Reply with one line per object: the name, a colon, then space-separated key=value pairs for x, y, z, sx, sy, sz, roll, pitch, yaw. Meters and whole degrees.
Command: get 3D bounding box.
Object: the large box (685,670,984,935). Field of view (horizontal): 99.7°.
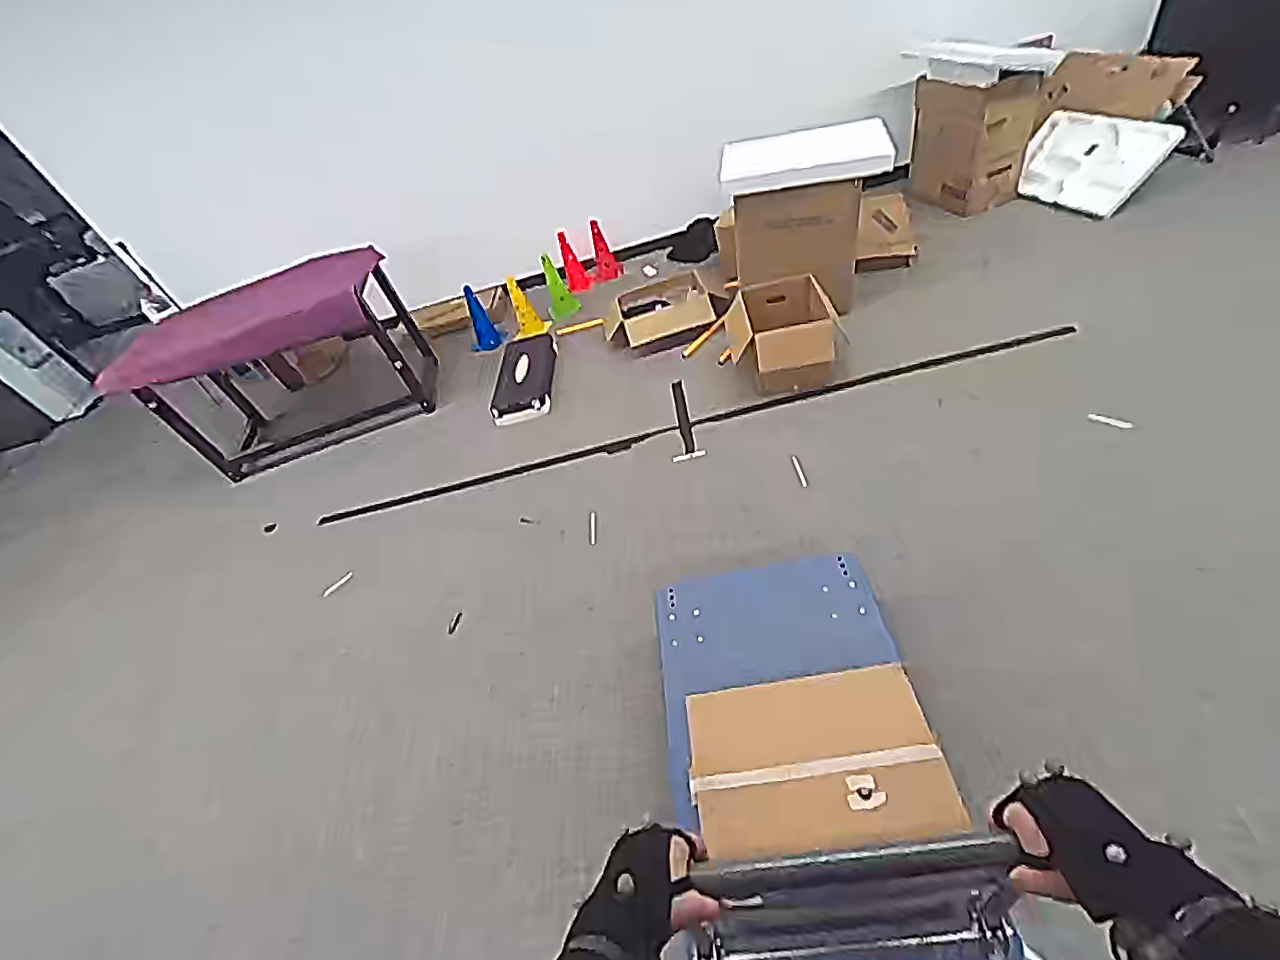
large box: x=0.318 y=0.595 z=0.990 sx=0.408 sy=0.320 sz=0.320 roll=-12 pitch=44 yaw=7
